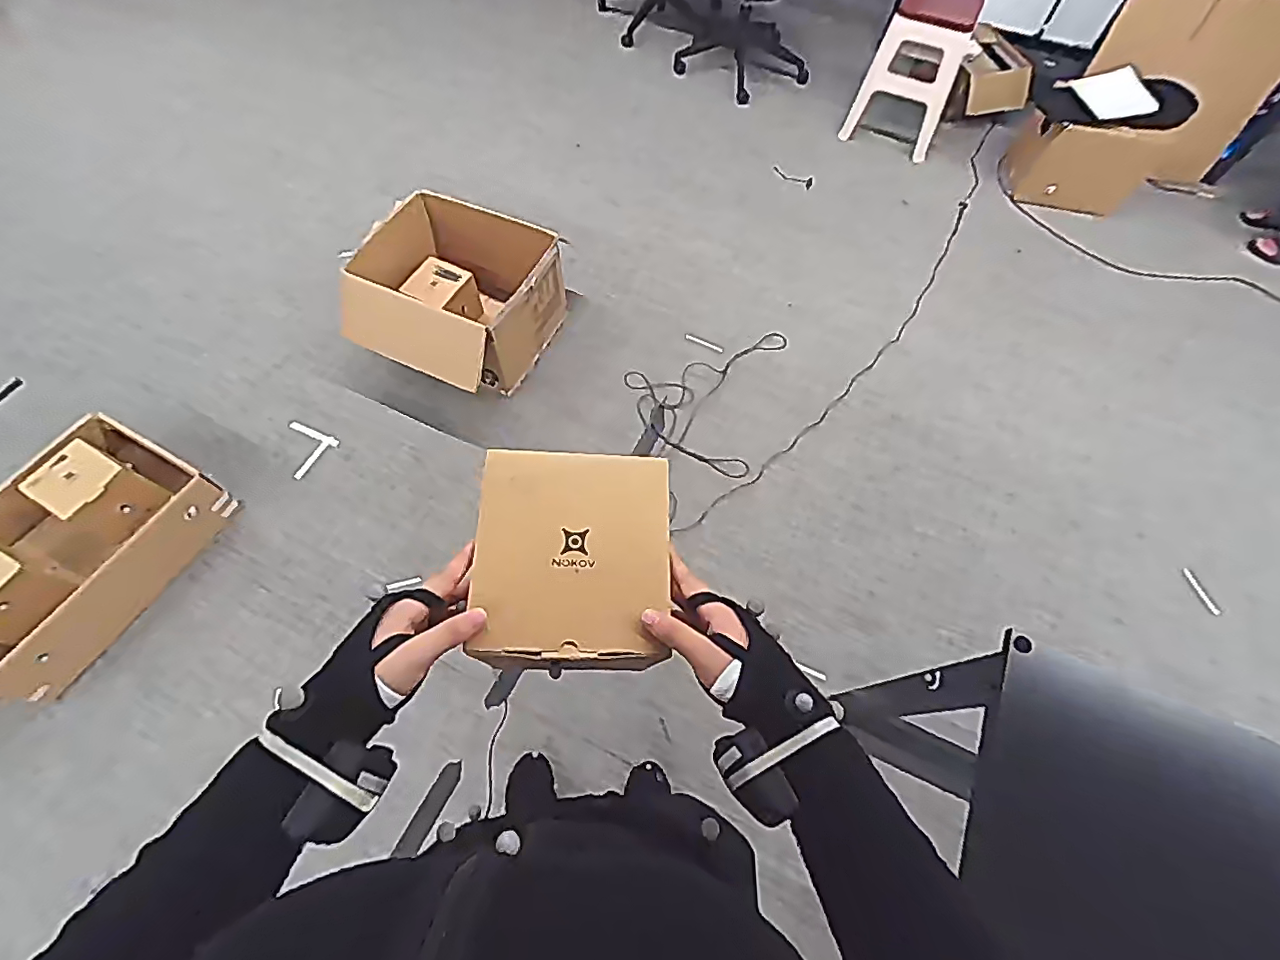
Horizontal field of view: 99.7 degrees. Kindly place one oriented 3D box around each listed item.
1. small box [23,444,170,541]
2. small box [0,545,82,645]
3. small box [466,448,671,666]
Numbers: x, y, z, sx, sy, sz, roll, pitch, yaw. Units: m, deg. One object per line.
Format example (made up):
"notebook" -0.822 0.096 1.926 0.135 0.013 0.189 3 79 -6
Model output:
"small box" -1.407 0.040 1.416 0.179 0.176 0.168 29 66 10
"small box" -1.528 0.273 1.293 0.168 0.176 0.179 26 63 8
"small box" -0.065 0.085 0.534 0.168 0.176 0.179 2 68 -6
